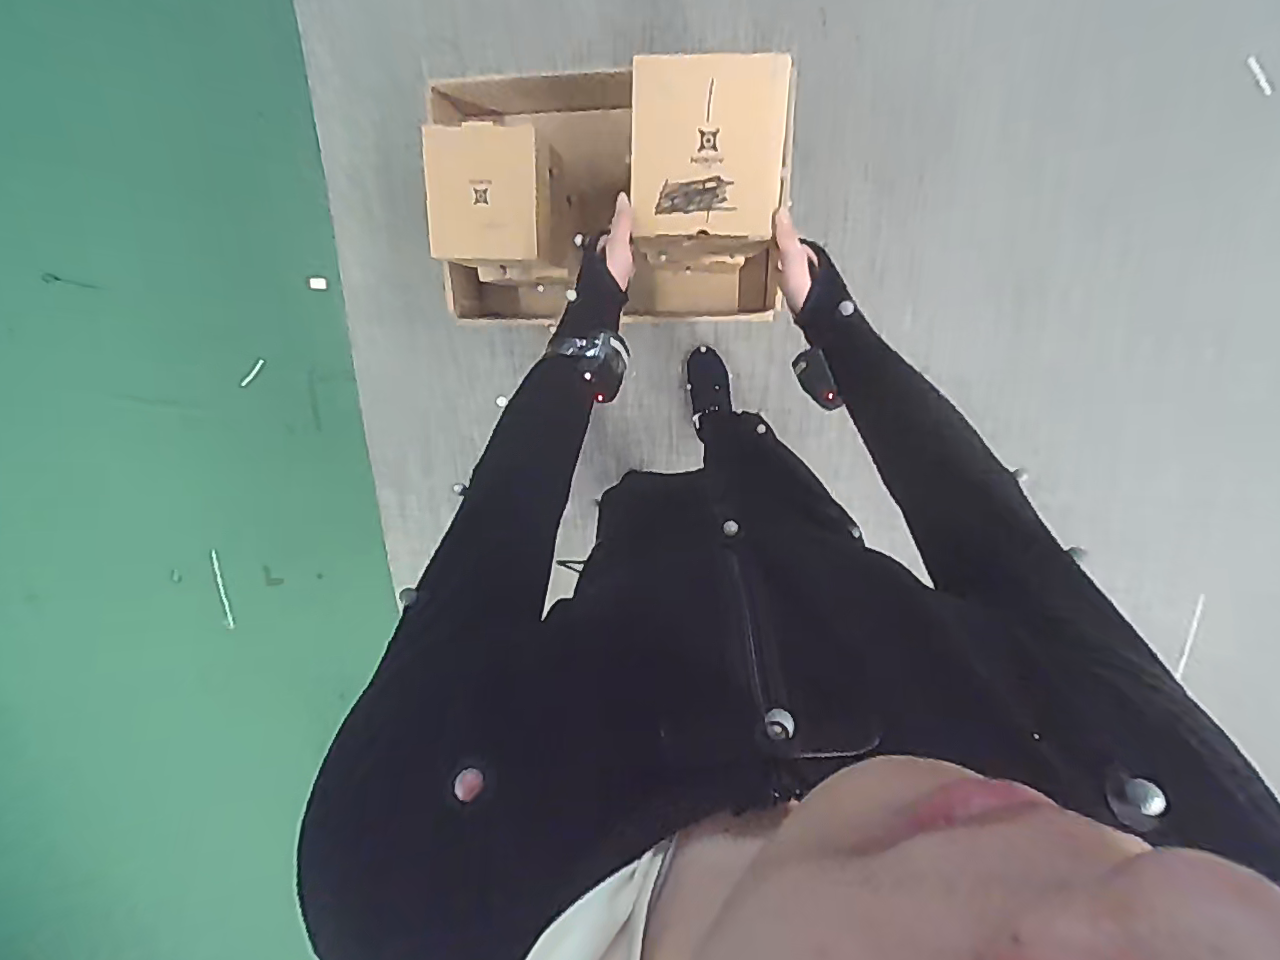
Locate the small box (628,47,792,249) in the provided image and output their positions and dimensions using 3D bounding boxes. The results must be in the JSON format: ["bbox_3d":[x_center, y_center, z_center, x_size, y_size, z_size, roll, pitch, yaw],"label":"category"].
[{"bbox_3d":[0.078,-0.383,0.655,0.168,0.176,0.179,3,106,3],"label":"small box"}]

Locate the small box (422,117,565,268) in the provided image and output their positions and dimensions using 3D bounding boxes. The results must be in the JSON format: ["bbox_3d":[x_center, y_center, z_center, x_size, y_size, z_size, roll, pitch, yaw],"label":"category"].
[{"bbox_3d":[-0.218,-0.436,0.842,0.168,0.176,0.179,4,106,6],"label":"small box"}]
